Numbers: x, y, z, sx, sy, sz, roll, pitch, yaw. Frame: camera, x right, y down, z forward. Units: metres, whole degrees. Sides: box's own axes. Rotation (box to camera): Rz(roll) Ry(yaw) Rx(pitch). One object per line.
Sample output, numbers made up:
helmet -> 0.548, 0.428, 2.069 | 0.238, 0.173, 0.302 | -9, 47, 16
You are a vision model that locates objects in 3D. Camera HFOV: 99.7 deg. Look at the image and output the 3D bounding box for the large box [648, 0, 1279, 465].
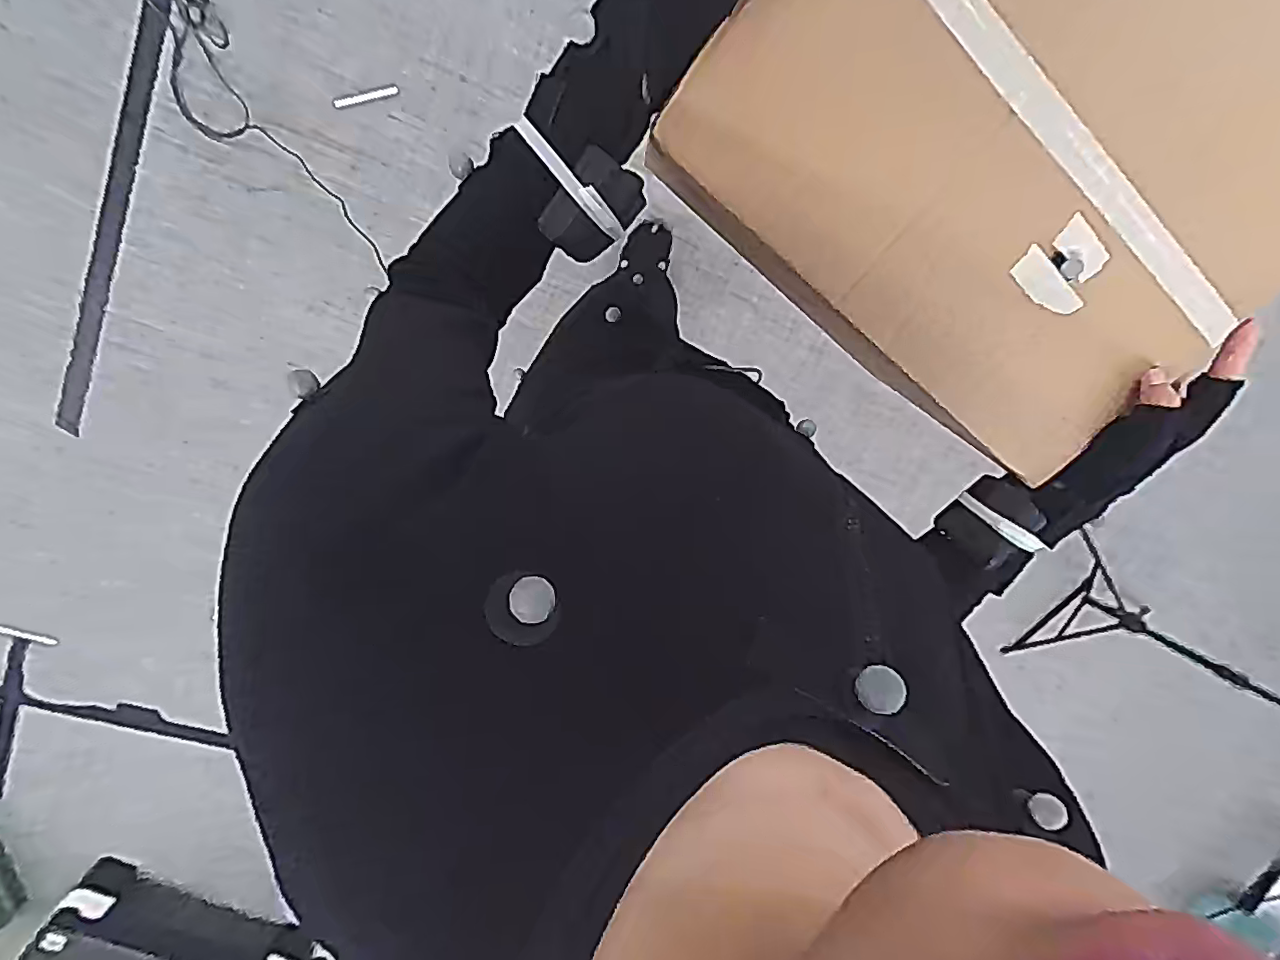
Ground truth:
large box -> 0.257, -0.291, 0.482 | 0.408, 0.320, 0.320 | 35, 112, -17
